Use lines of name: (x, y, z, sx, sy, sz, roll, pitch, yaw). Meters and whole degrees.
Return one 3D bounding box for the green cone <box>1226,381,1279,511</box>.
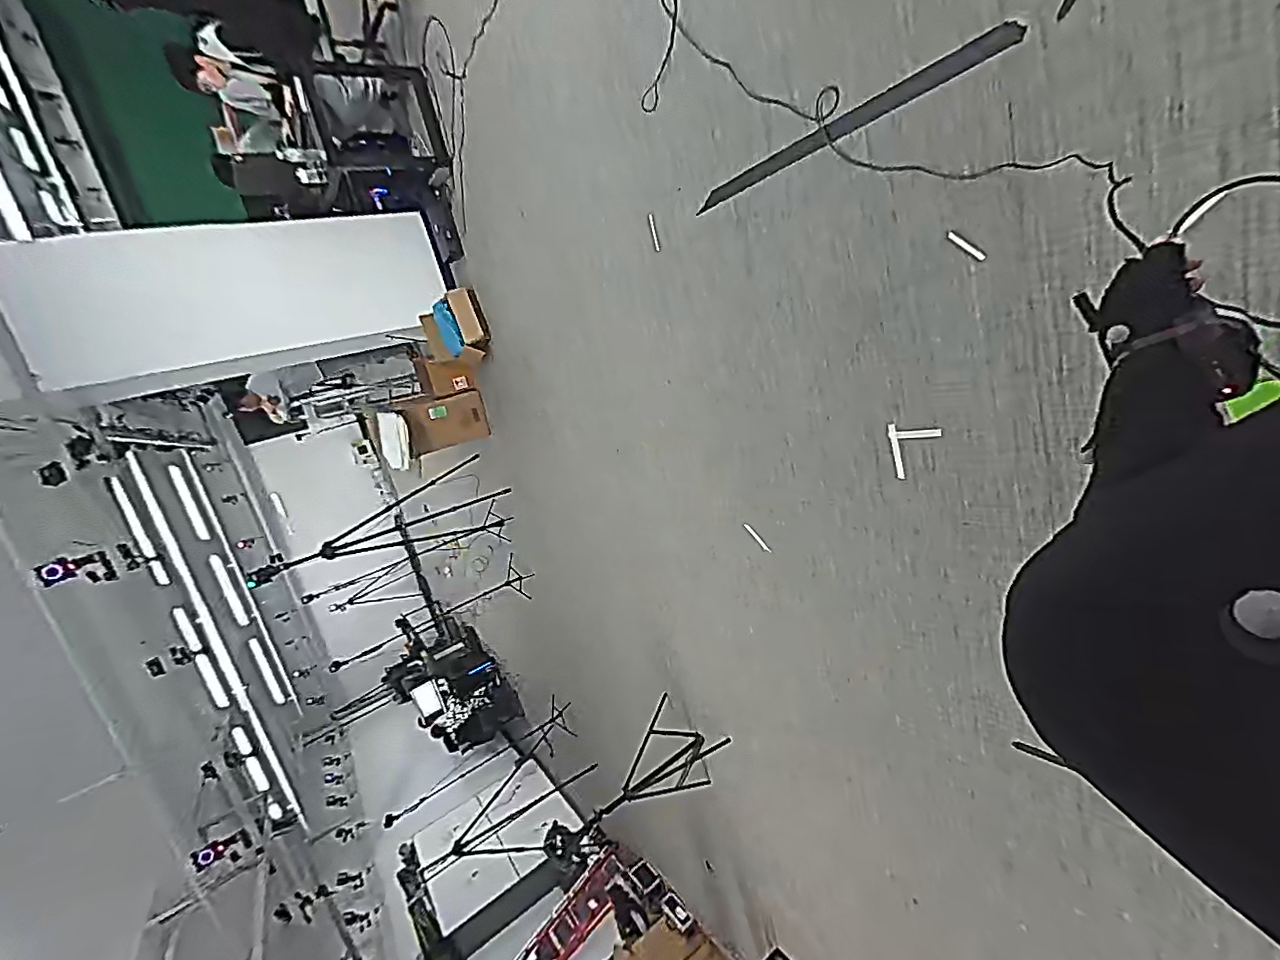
green cone: (1.050, -0.037, 0.855, 0.202, 0.368, 0.200, -25, 87, 61)
